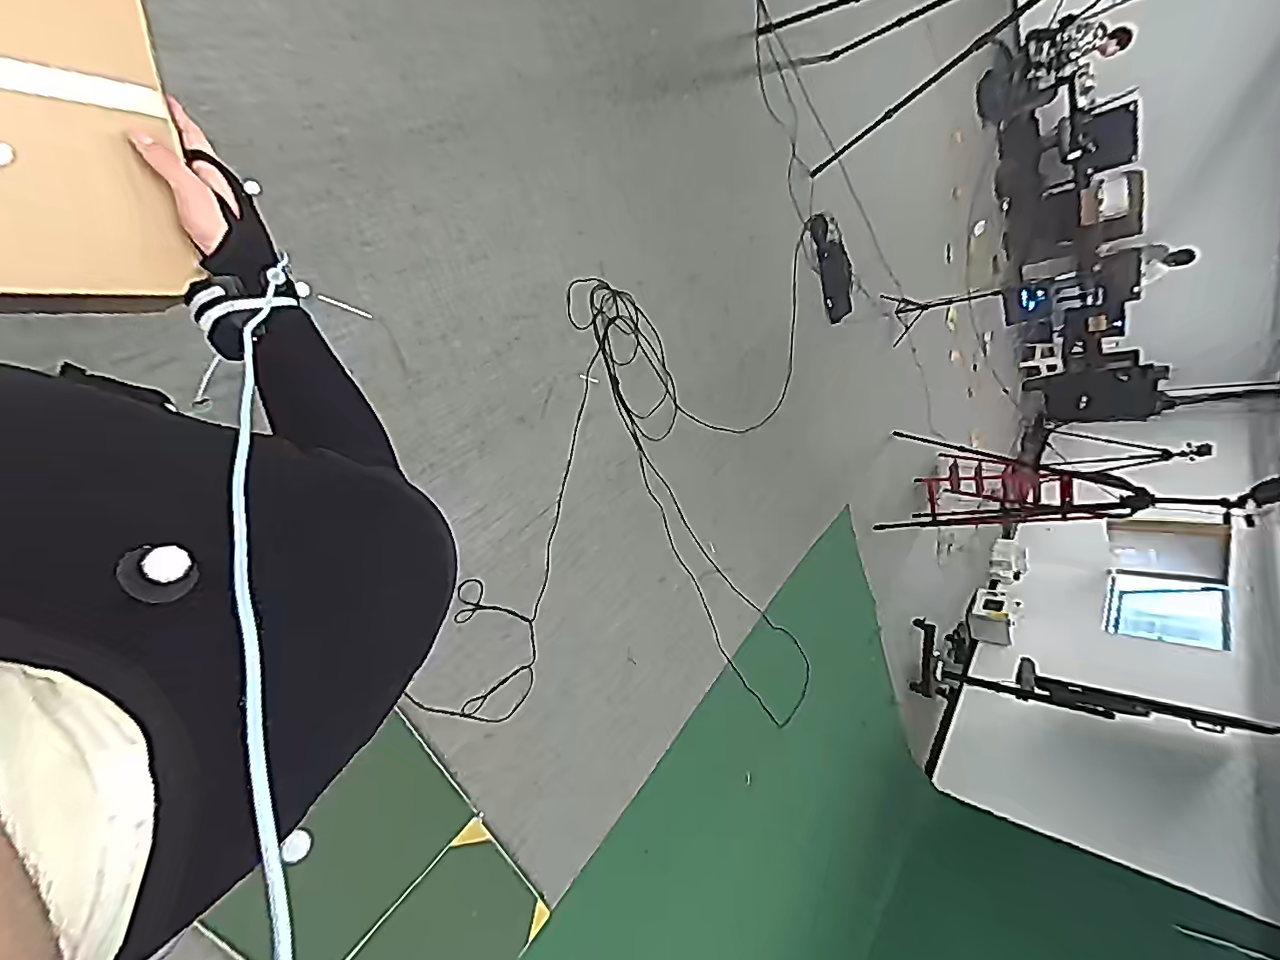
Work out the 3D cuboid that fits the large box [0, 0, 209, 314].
[{"bbox_3d":[-0.672,-0.304,0.447,0.408,0.320,0.320,-19,113,-45],"label":"large box"}]
